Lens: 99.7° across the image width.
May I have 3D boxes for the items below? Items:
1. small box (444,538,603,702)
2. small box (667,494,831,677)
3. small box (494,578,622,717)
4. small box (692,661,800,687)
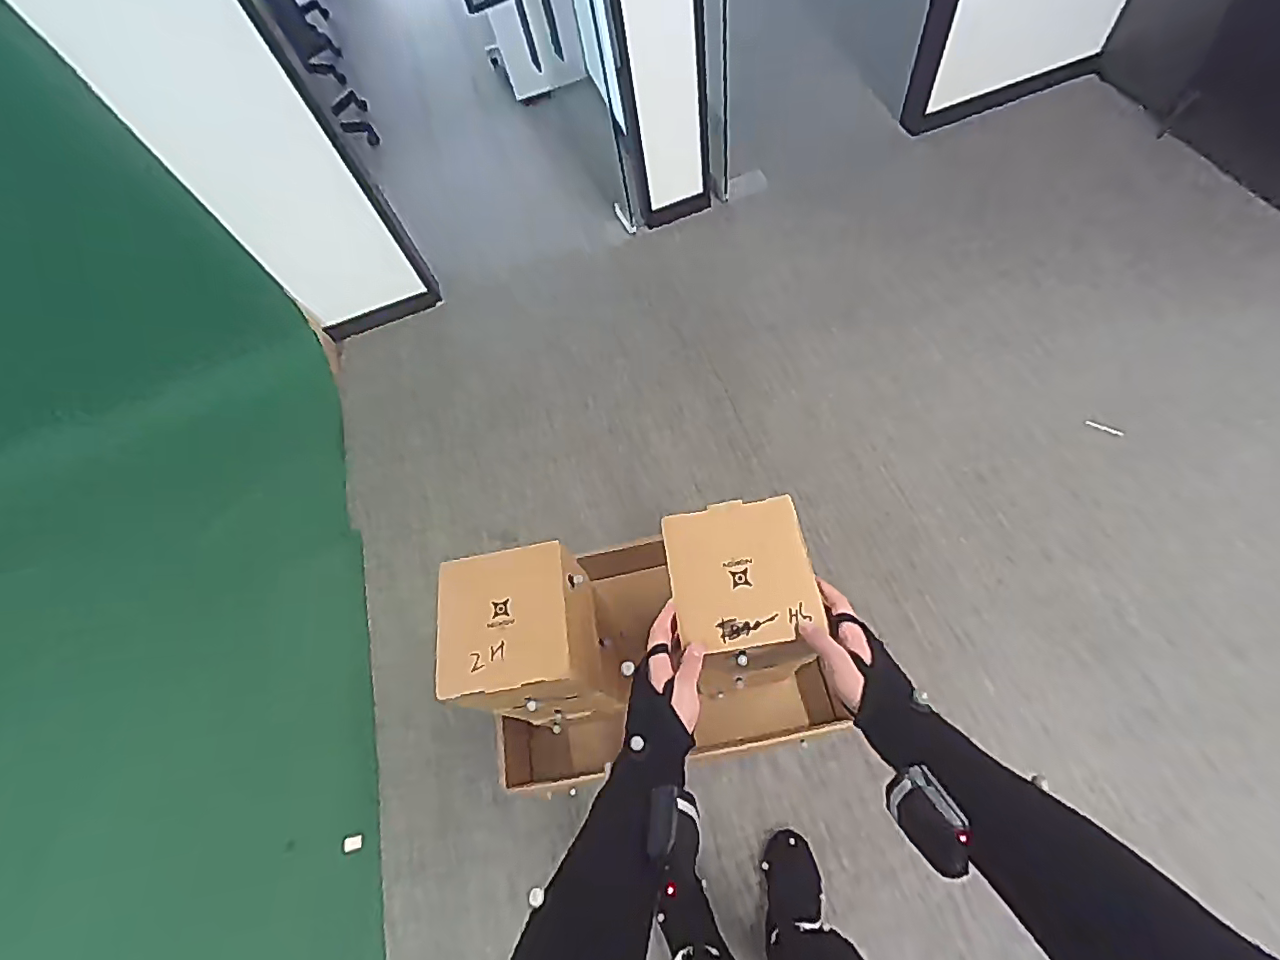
[{"bbox_3d":[-0.155,0.200,0.747,0.168,0.176,0.179,-12,65,4],"label":"small box"},{"bbox_3d":[0.133,0.143,0.702,0.168,0.176,0.179,-10,60,6],"label":"small box"},{"bbox_3d":[-0.131,0.280,0.888,0.168,0.176,0.179,-12,62,4],"label":"small box"},{"bbox_3d":[0.157,0.221,0.867,0.168,0.176,0.179,-12,63,4],"label":"small box"}]
